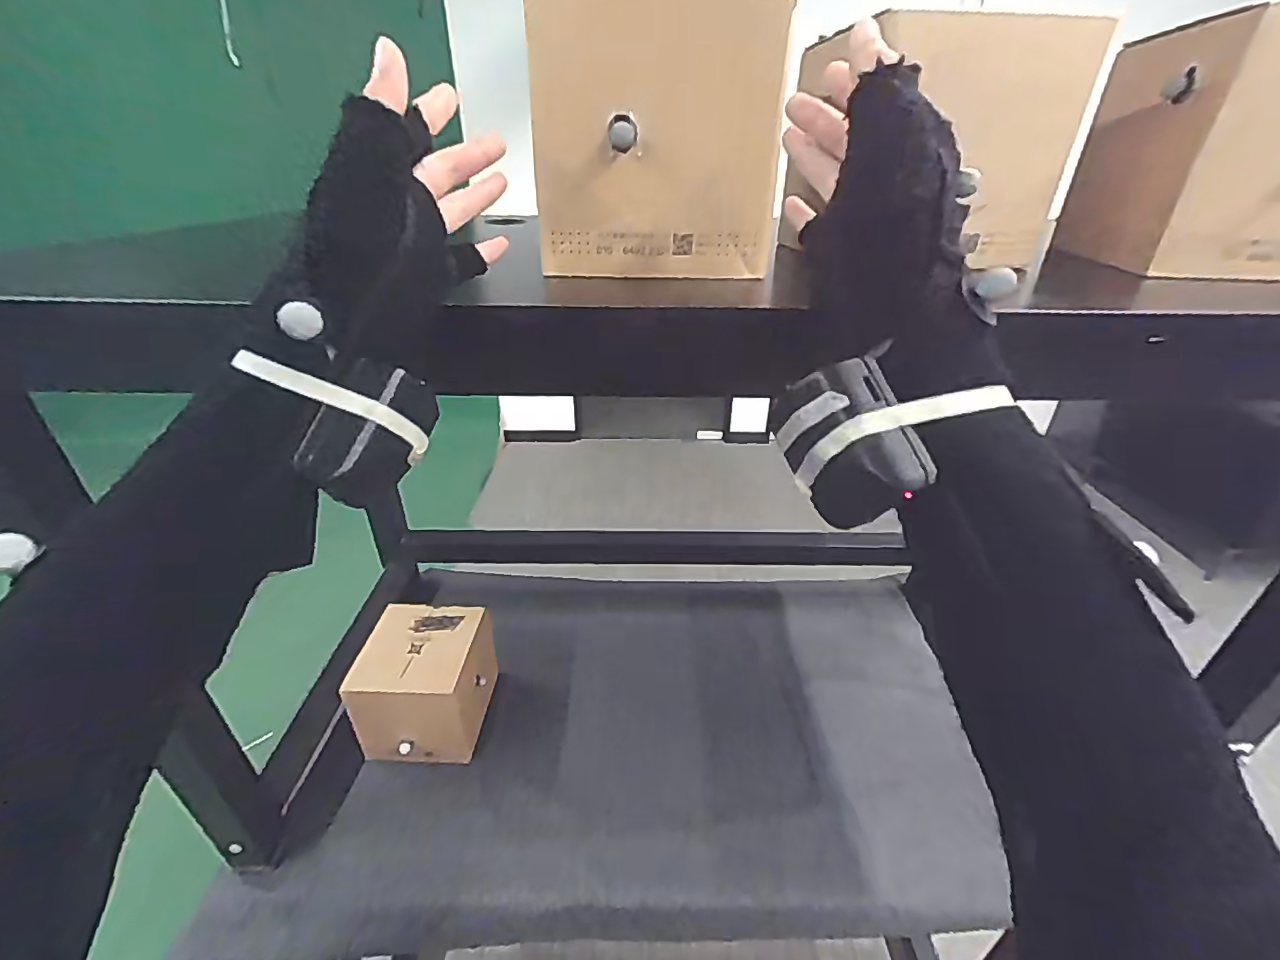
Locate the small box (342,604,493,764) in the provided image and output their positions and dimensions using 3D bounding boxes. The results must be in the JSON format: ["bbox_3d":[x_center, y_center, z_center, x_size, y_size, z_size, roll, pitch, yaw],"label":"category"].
[{"bbox_3d":[-0.343,0.326,0.875,0.168,0.176,0.179,1,31,1],"label":"small box"}]

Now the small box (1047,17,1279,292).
[{"bbox_3d":[0.484,-0.256,0.442,0.168,0.176,0.179,7,31,9],"label":"small box"}]
